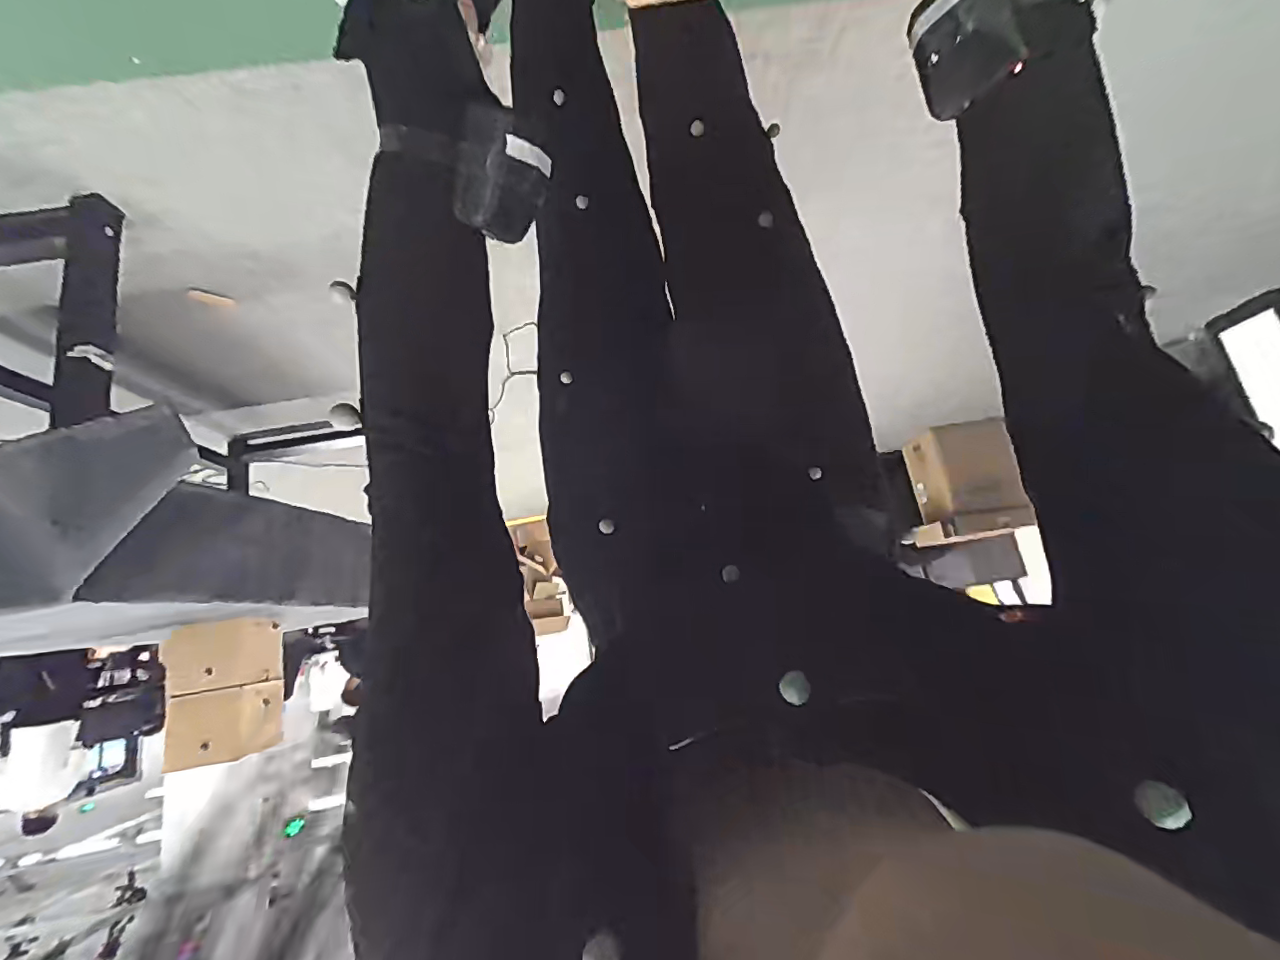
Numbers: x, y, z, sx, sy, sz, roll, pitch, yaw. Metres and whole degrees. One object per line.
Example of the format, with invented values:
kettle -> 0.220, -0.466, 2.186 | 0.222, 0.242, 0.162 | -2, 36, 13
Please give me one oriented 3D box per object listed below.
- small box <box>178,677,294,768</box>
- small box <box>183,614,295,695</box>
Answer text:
small box -> -0.998, 0.596, 1.350 | 0.179, 0.176, 0.168 | -10, 166, -2
small box -> -1.025, 0.441, 1.391 | 0.179, 0.176, 0.168 | -9, 166, -2
